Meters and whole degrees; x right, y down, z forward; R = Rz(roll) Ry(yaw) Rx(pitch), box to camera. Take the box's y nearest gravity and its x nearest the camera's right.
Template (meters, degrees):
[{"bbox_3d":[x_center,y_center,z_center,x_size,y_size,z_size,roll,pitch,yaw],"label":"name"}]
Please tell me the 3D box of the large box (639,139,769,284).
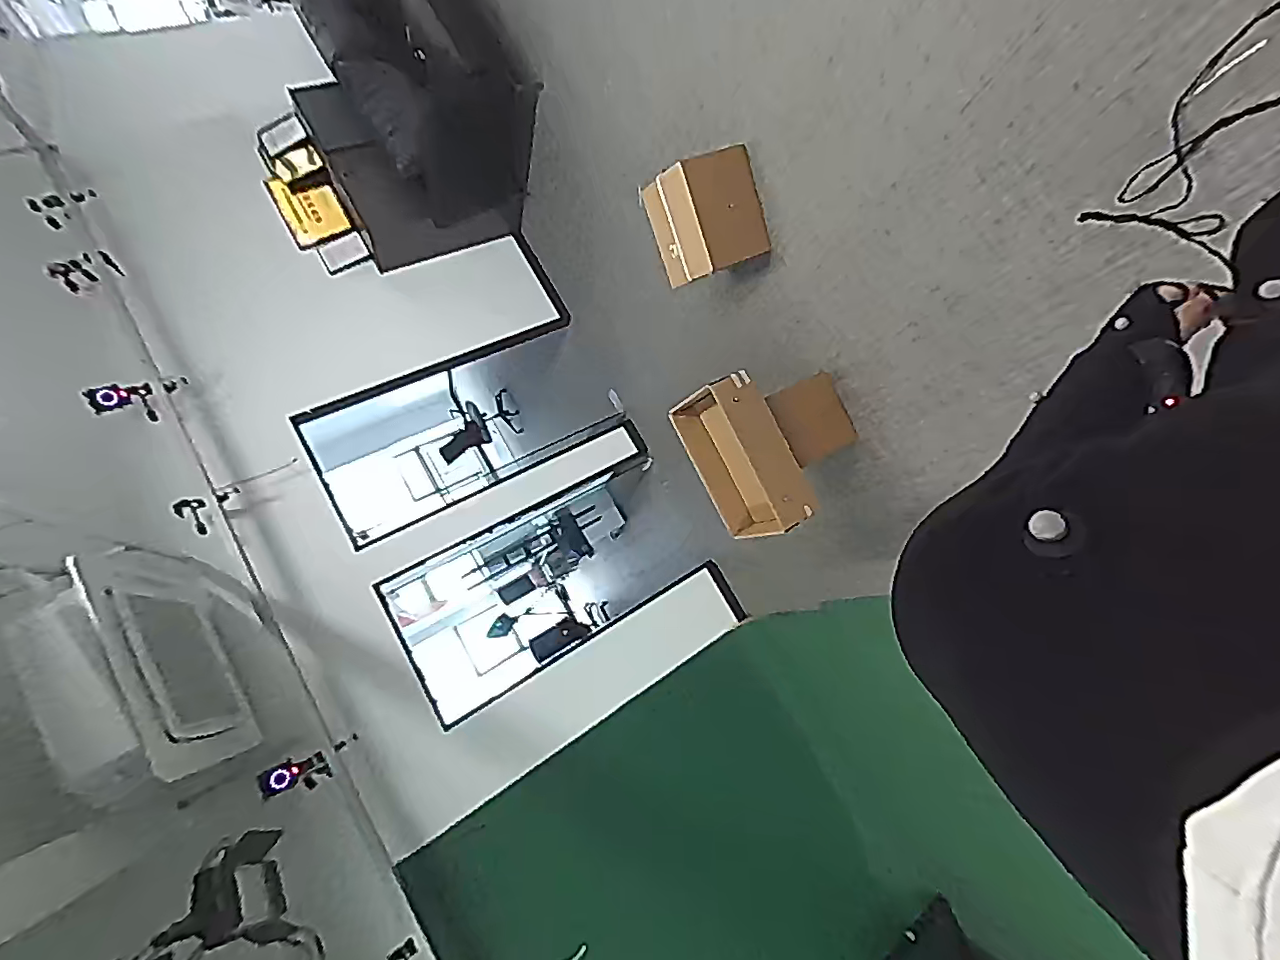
[{"bbox_3d":[0.256,-1.060,2.167,0.320,0.320,0.408,13,128,63],"label":"large box"}]
